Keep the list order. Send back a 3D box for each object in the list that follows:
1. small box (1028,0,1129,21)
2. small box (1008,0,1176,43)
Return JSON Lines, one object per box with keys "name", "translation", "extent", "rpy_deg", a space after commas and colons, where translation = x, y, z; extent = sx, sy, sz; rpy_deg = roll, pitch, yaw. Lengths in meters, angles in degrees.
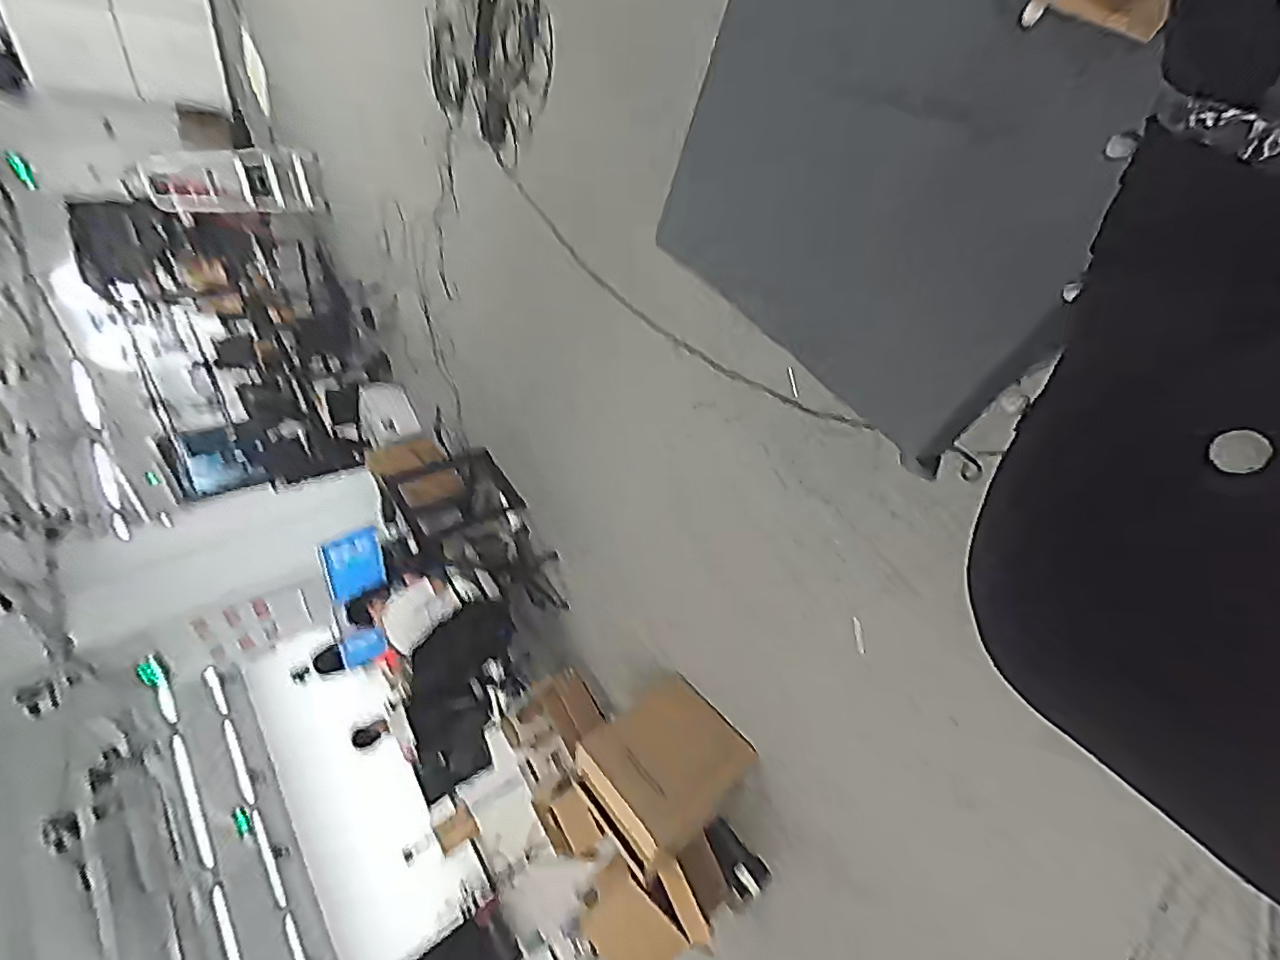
{"name": "small box", "translation": [0.255, -0.414, 0.316], "extent": [0.168, 0.176, 0.179], "rpy_deg": [49, 141, 25]}
{"name": "small box", "translation": [0.366, -0.478, 0.414], "extent": [0.168, 0.176, 0.179], "rpy_deg": [50, 142, 25]}
